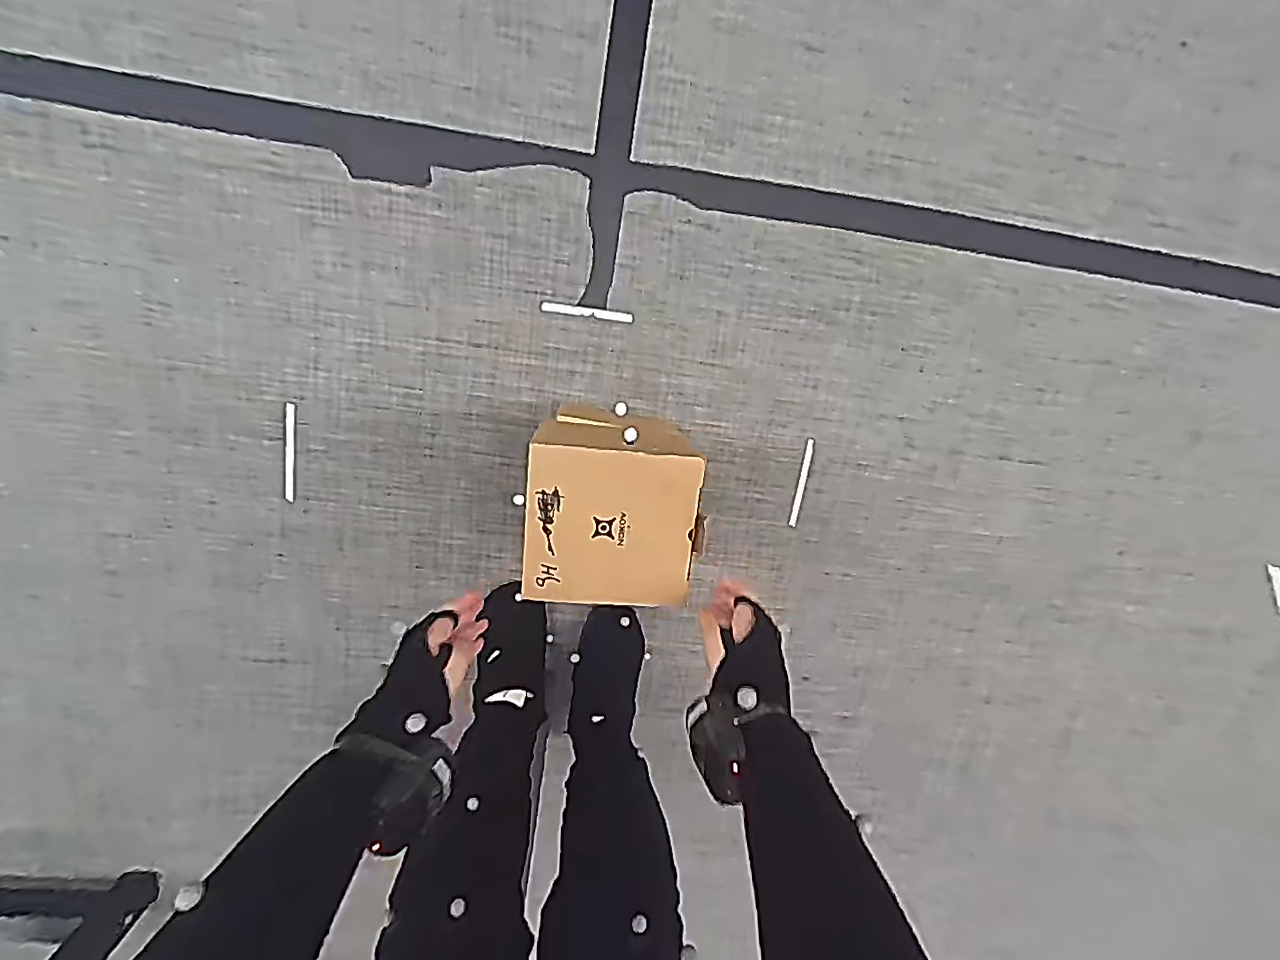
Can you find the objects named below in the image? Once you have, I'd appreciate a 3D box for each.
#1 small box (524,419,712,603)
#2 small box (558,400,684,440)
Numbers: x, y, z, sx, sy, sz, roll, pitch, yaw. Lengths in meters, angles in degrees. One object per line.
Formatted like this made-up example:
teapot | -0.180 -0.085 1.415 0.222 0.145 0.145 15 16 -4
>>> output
small box | -0.033 0.026 0.619 0.179 0.176 0.168 5 103 -8
small box | -0.045 -0.010 0.779 0.168 0.176 0.179 9 102 -9
